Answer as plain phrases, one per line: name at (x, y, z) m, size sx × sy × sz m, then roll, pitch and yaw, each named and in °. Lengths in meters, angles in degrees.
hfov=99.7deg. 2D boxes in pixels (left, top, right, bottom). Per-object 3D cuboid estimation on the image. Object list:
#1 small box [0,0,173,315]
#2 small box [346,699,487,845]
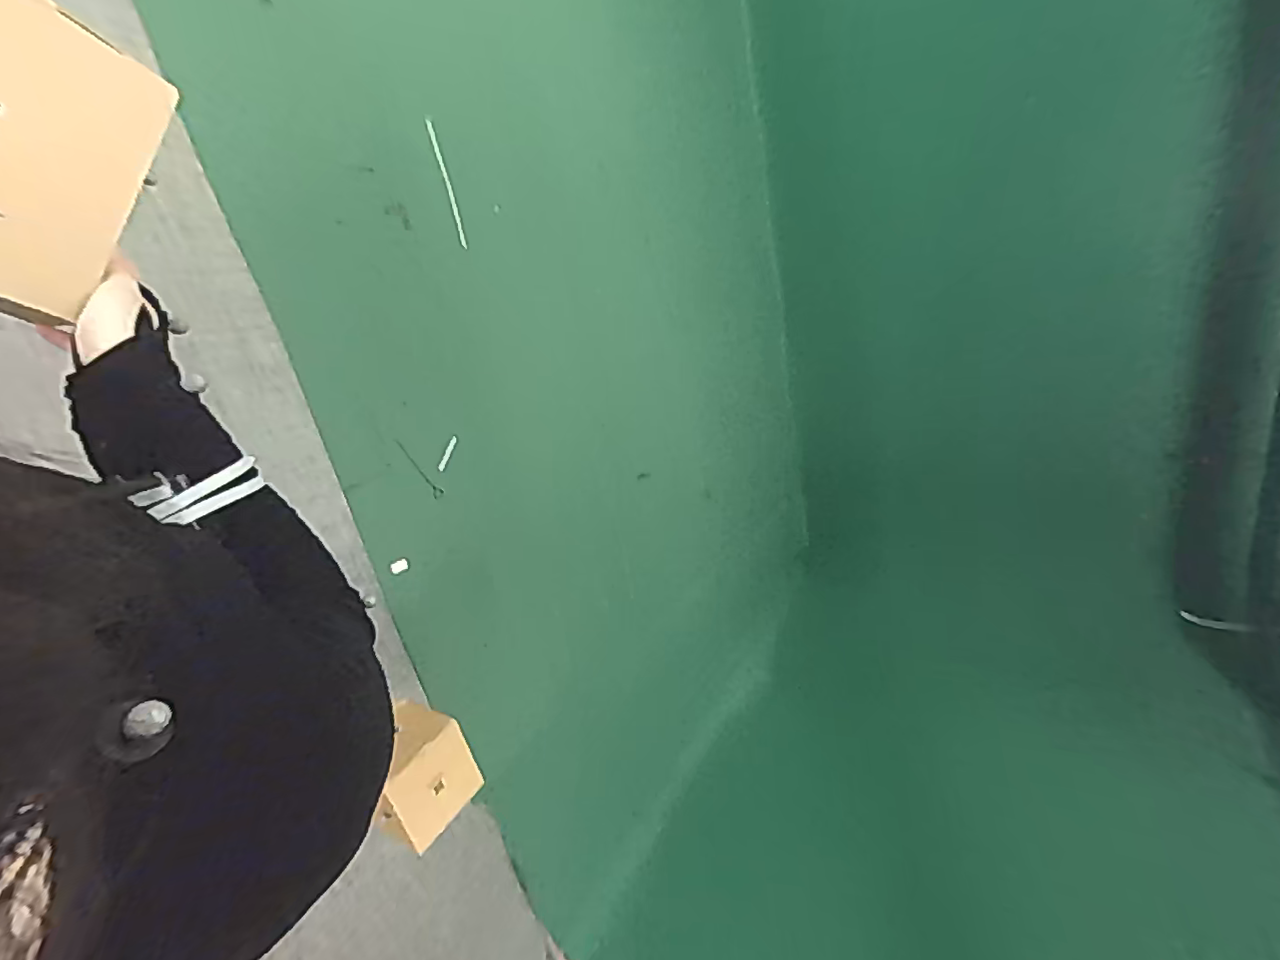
small box at (-0.446, -0.222, 0.340) m, size 0.168 × 0.176 × 0.179 m, roll 24°, pitch 81°, yaw -53°
small box at (-0.447, 0.573, 1.086) m, size 0.168 × 0.176 × 0.179 m, roll -38°, pitch 120°, yaw -48°
